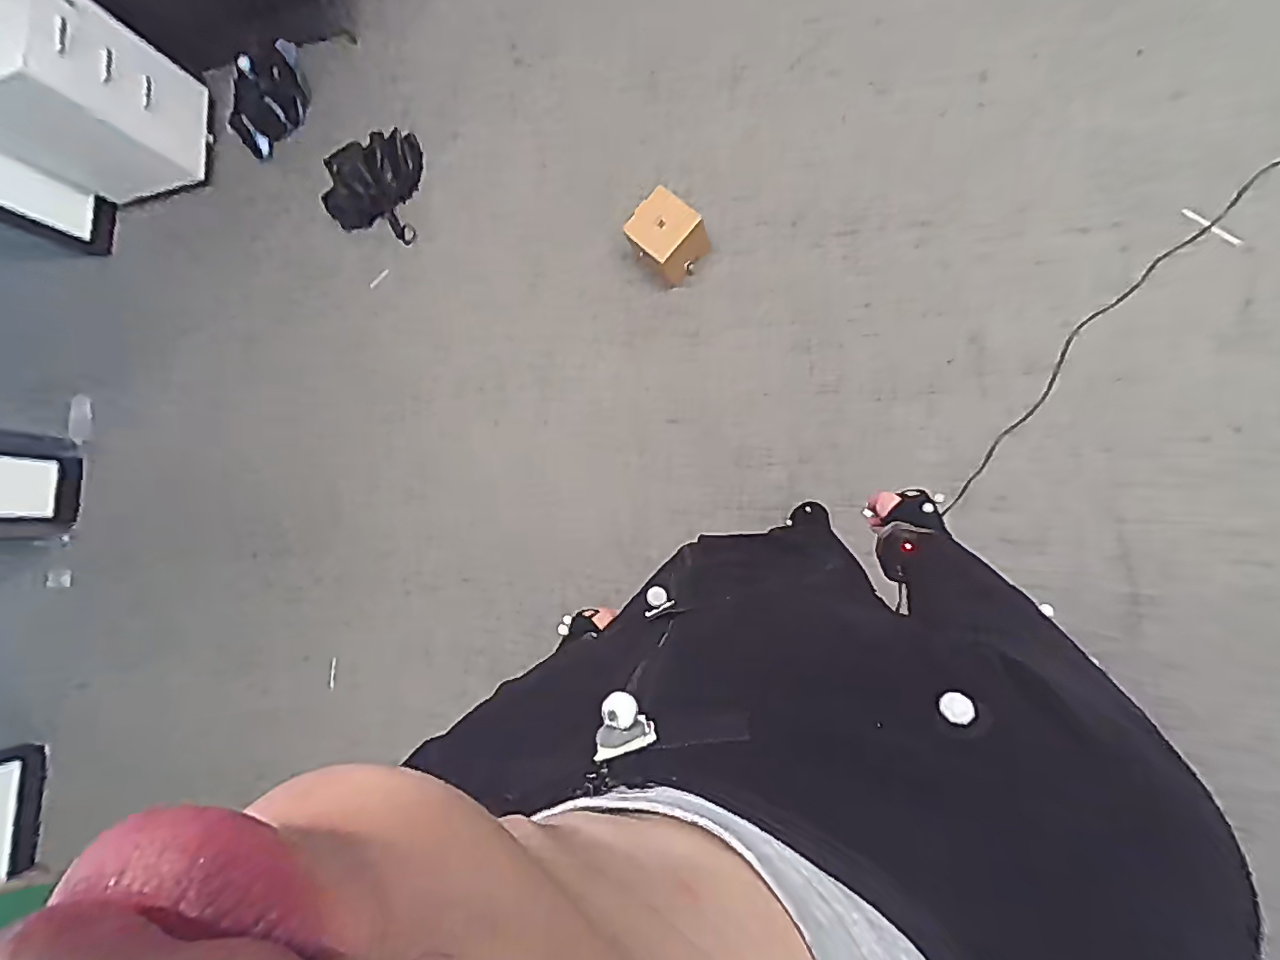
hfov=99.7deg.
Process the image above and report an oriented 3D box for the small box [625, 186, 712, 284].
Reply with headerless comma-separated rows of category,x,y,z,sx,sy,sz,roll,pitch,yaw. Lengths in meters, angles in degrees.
small box,0.089,-0.714,1.599,0.179,0.176,0.168,44,99,15
